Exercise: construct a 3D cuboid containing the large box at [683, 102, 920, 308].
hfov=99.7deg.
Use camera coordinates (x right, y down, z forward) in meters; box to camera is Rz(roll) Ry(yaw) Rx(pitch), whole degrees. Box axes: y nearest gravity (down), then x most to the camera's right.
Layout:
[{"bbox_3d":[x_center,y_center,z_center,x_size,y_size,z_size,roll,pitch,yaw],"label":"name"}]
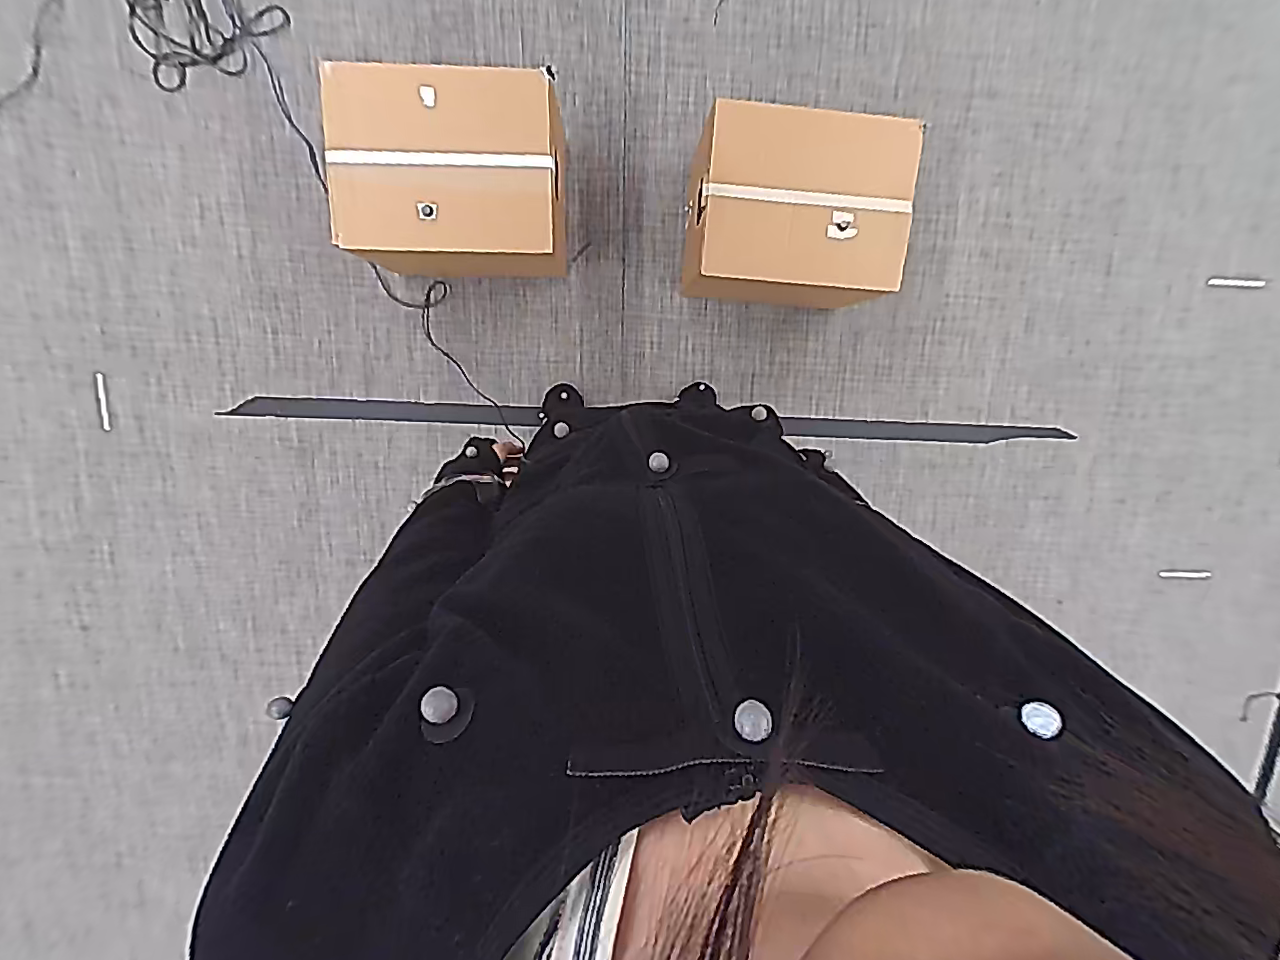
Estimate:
[{"bbox_3d":[0.320,-0.571,1.192,0.408,0.320,0.320,4,101,-5],"label":"large box"}]
